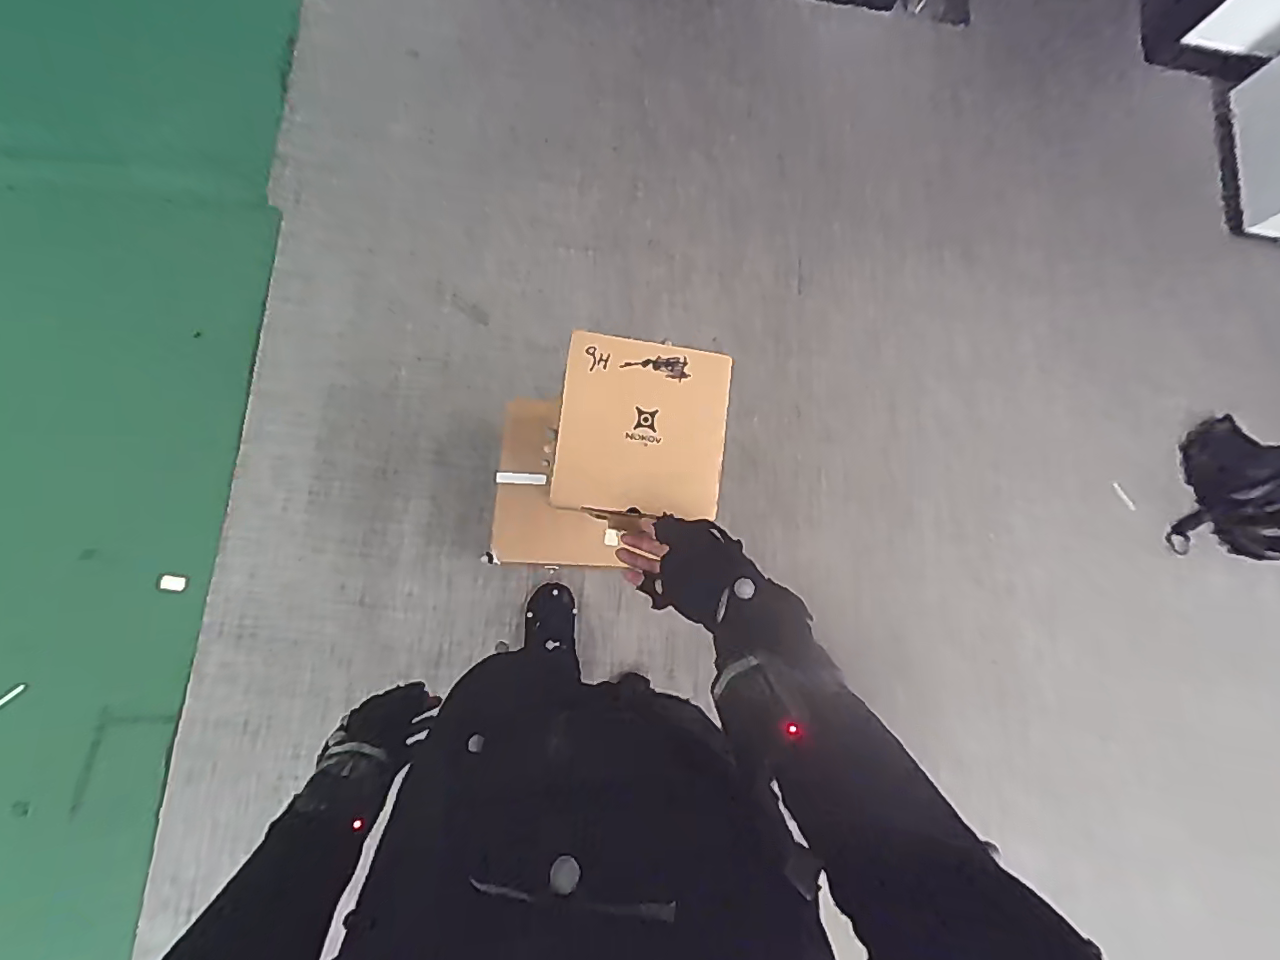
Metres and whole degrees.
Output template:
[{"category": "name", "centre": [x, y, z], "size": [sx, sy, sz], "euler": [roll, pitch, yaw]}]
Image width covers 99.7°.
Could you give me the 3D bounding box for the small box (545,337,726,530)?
[{"category": "small box", "centre": [-0.013, -0.042, 0.618], "size": [0.168, 0.176, 0.179], "euler": [8, 85, -8]}]
